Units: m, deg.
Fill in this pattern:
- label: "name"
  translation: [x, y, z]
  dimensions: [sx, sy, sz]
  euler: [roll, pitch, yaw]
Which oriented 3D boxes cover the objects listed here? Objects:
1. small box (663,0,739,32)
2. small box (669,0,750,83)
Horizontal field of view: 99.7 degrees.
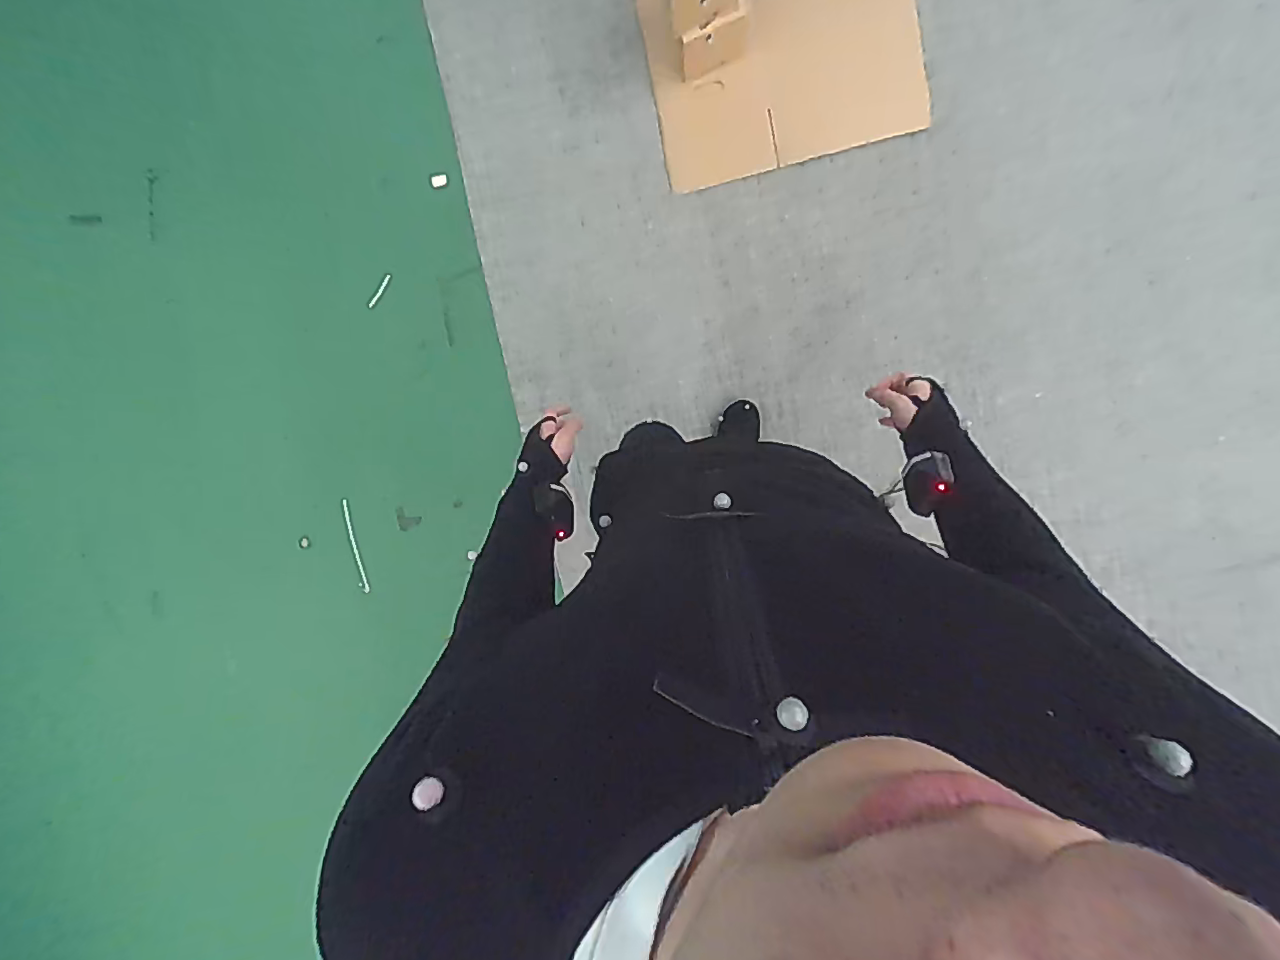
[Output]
- label: "small box"
  translation: [0.125, -1.160, 1.210]
  dimensions: [0.168, 0.176, 0.179]
  euler: [-18, 93, 8]
- label: "small box"
  translation: [0.169, -1.169, 1.371]
  dimensions: [0.168, 0.176, 0.179]
  euler: [-19, 94, 9]
